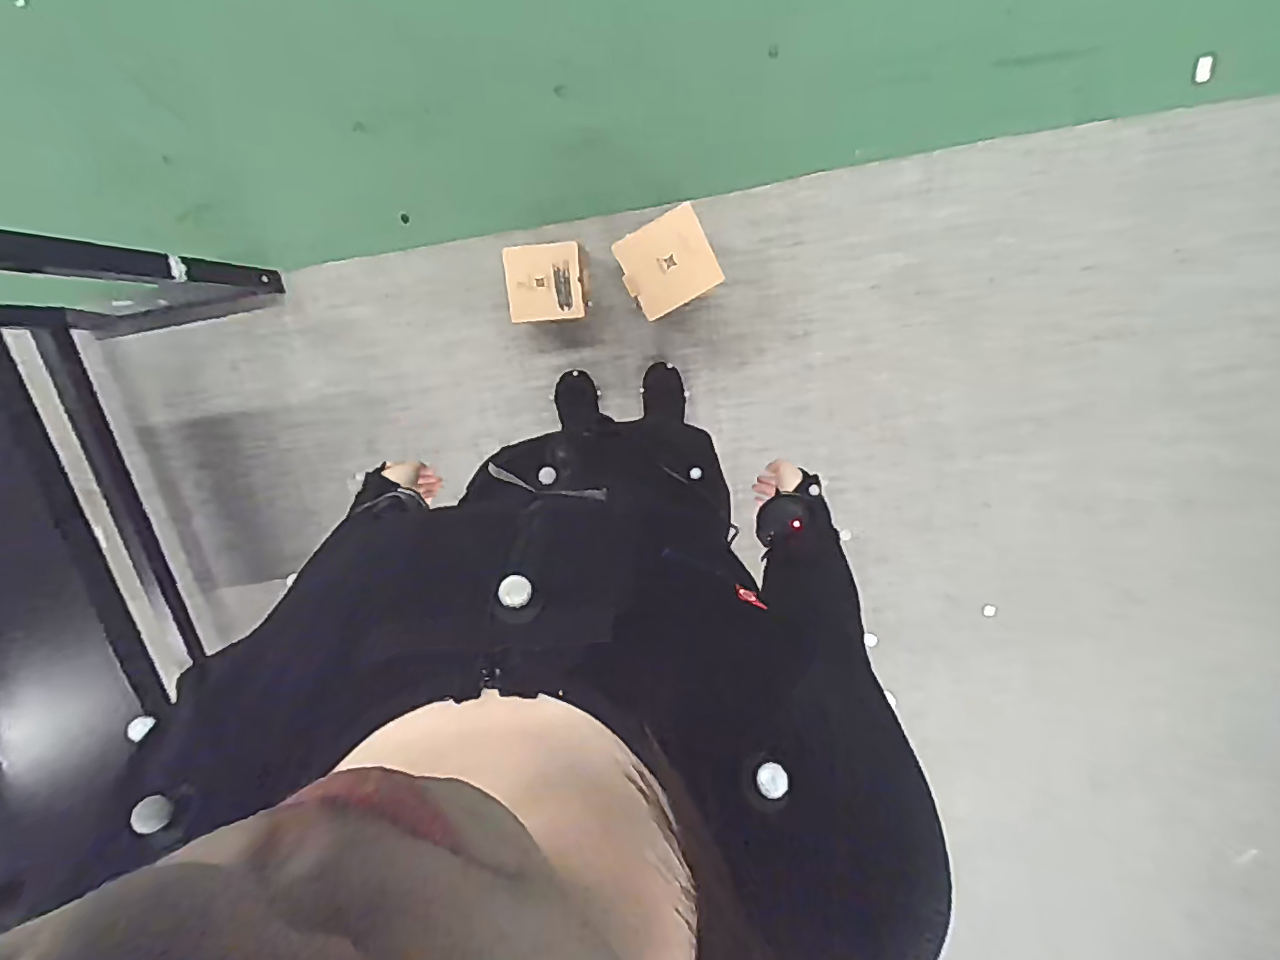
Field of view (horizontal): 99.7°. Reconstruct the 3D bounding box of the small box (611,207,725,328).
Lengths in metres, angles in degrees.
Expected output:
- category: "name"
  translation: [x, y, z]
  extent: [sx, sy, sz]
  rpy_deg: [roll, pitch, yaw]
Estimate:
- category: "small box"
  translation: [0.057, -0.432, 1.126]
  extent: [0.179, 0.176, 0.168]
  rpy_deg: [-28, 105, 8]
